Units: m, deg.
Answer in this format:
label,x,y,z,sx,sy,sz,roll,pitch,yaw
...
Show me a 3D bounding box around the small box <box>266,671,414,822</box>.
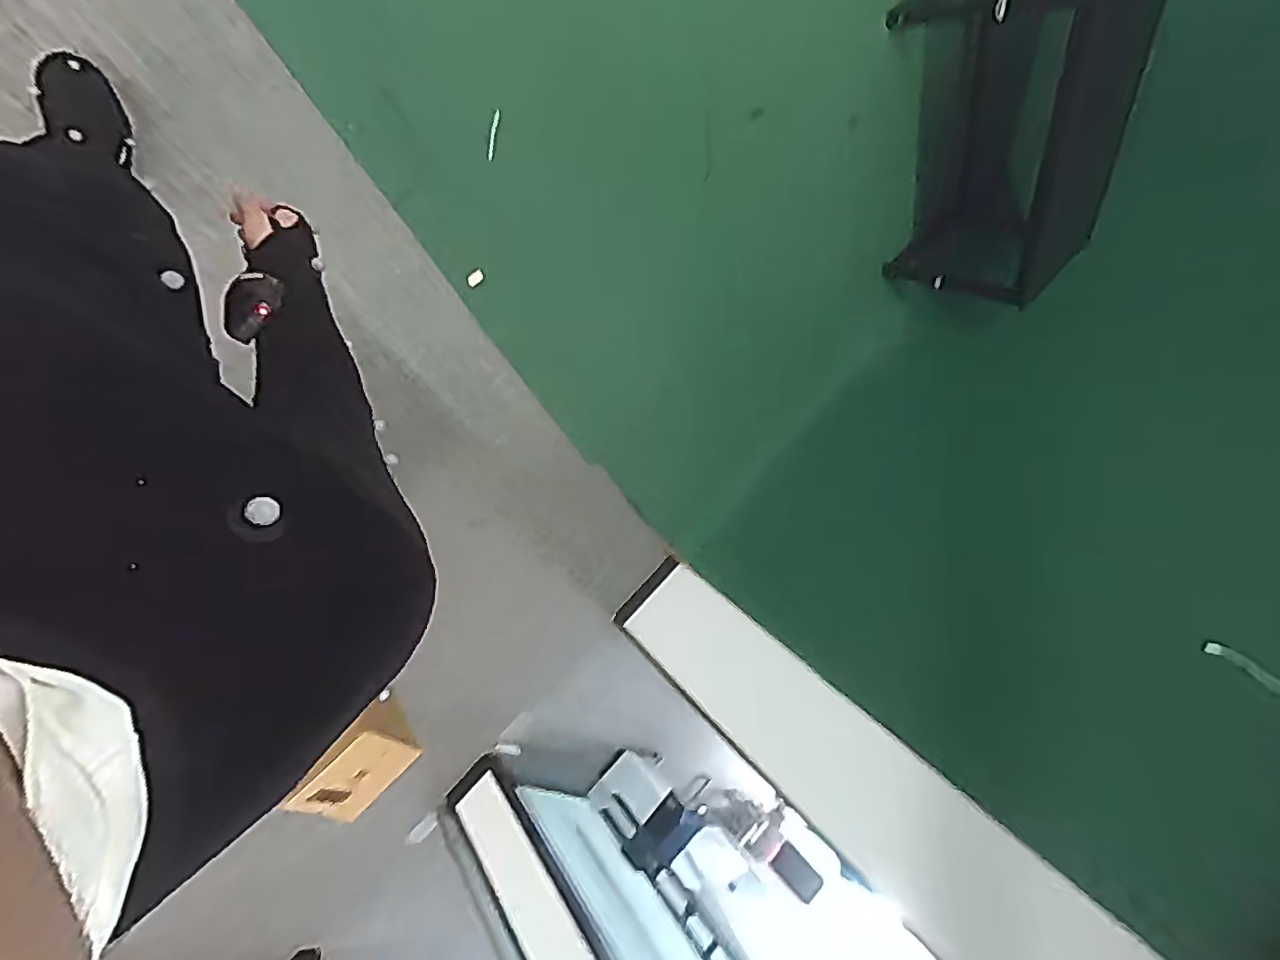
label,x,y,z,sx,sy,sz,roll,pitch,yaw
small box,-0.580,0.509,1.040,0.179,0.176,0.168,-44,139,-14
